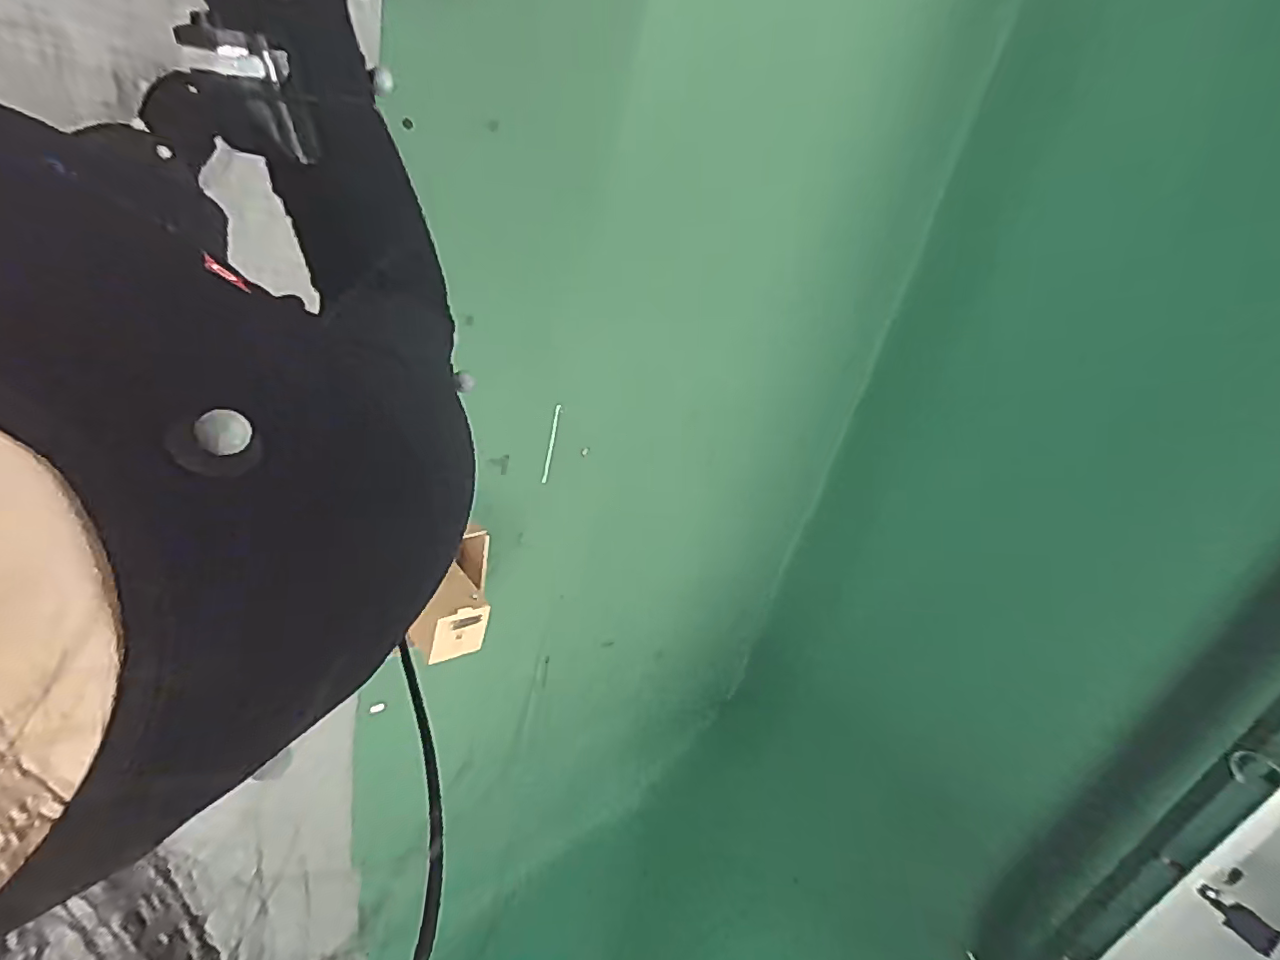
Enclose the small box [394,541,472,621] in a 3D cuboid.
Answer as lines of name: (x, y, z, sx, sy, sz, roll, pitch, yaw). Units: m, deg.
small box: (-0.668, 0.315, 1.738, 0.179, 0.176, 0.168, -10, 125, -42)
